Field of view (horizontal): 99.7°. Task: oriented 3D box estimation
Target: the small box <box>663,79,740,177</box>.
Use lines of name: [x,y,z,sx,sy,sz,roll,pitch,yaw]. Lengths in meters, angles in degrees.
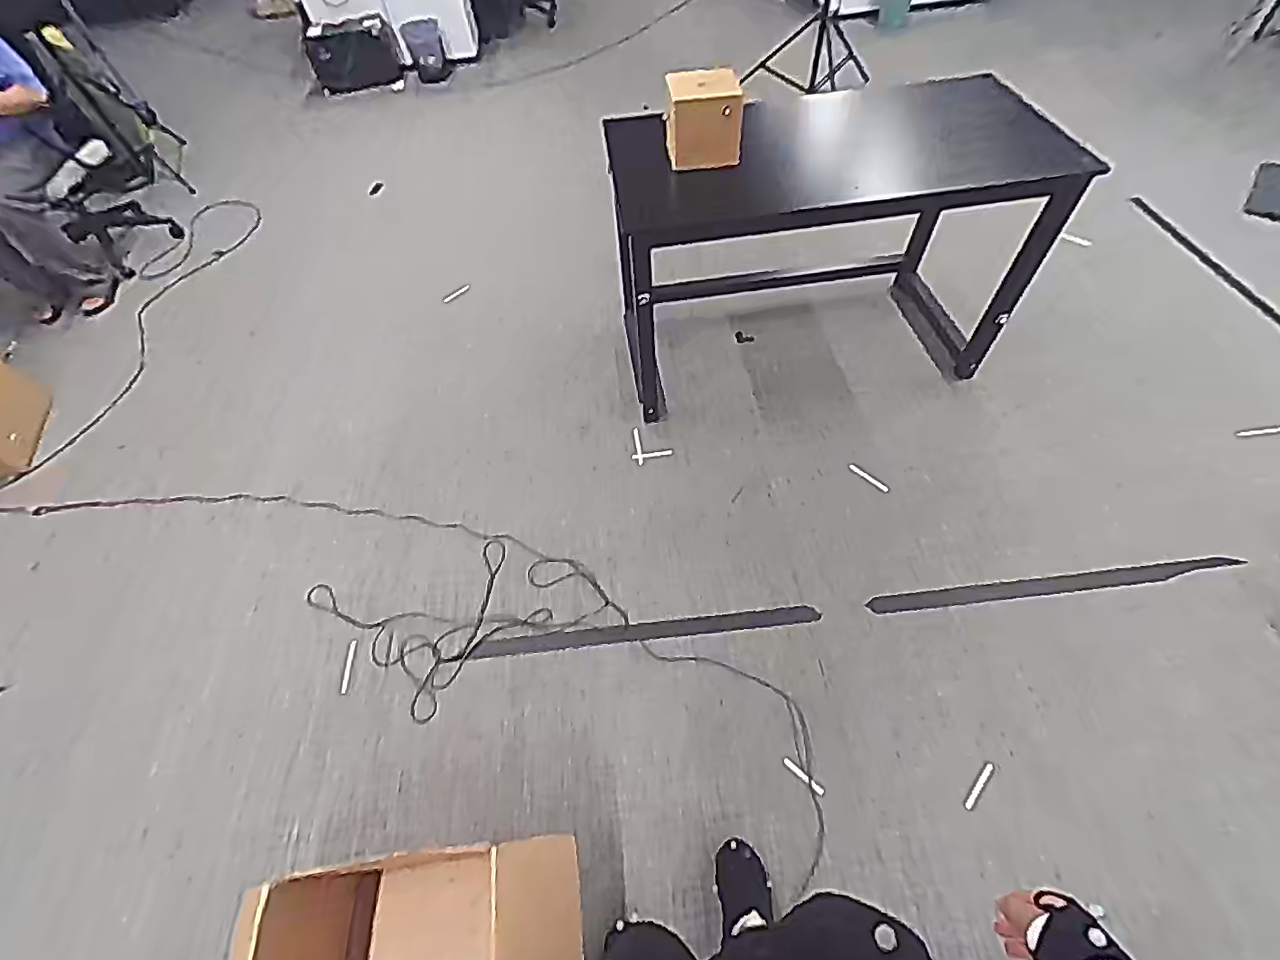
small box: [0.159,-0.931,1.438,0.179,0.176,0.168,-6,56,-1]
